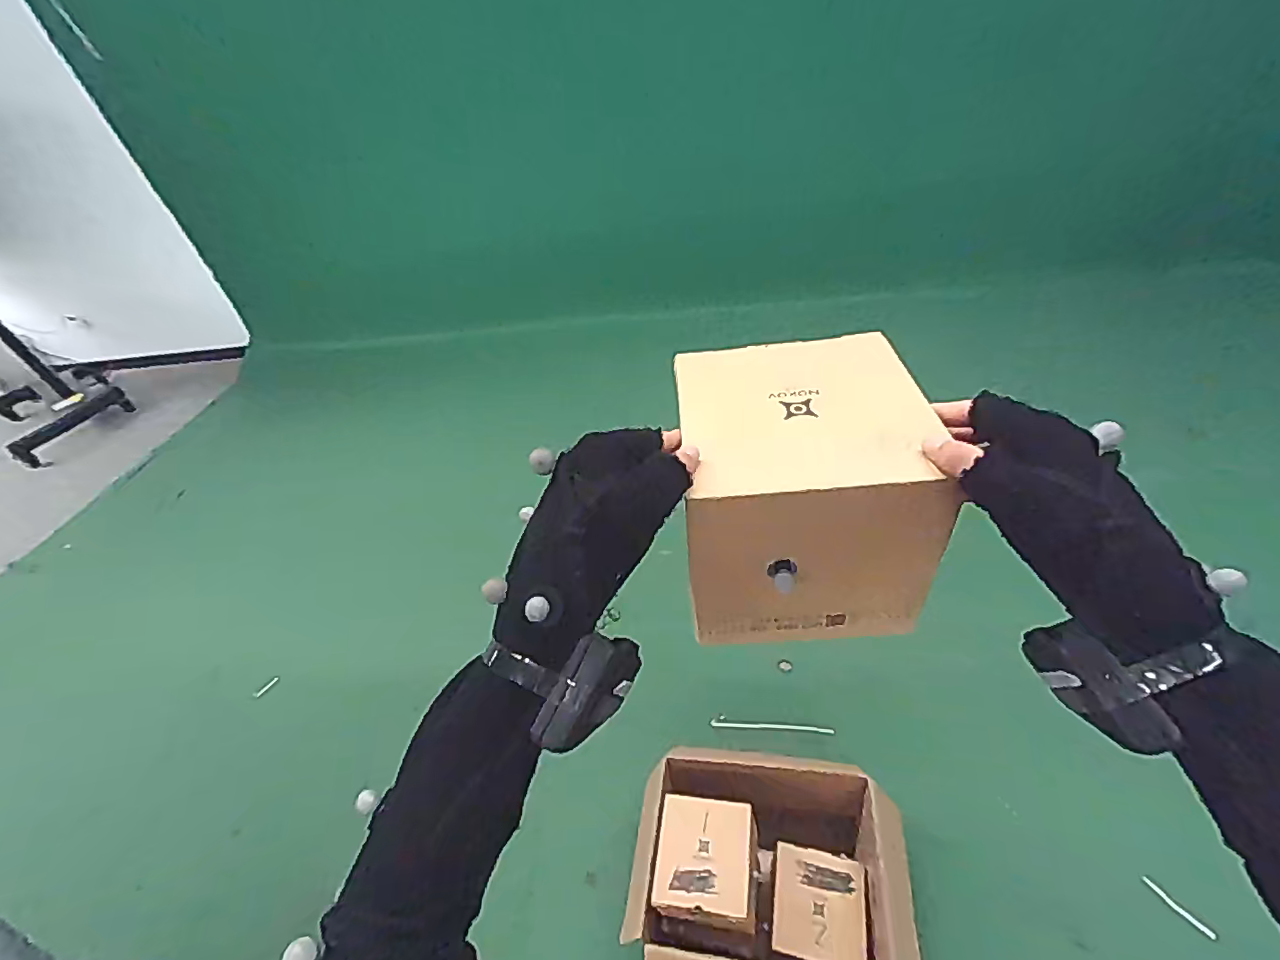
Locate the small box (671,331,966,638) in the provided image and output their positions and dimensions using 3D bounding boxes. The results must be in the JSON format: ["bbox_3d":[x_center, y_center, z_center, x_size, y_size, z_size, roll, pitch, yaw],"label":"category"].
[{"bbox_3d":[0.116,0.009,0.423,0.168,0.176,0.179,-6,41,5],"label":"small box"}]
